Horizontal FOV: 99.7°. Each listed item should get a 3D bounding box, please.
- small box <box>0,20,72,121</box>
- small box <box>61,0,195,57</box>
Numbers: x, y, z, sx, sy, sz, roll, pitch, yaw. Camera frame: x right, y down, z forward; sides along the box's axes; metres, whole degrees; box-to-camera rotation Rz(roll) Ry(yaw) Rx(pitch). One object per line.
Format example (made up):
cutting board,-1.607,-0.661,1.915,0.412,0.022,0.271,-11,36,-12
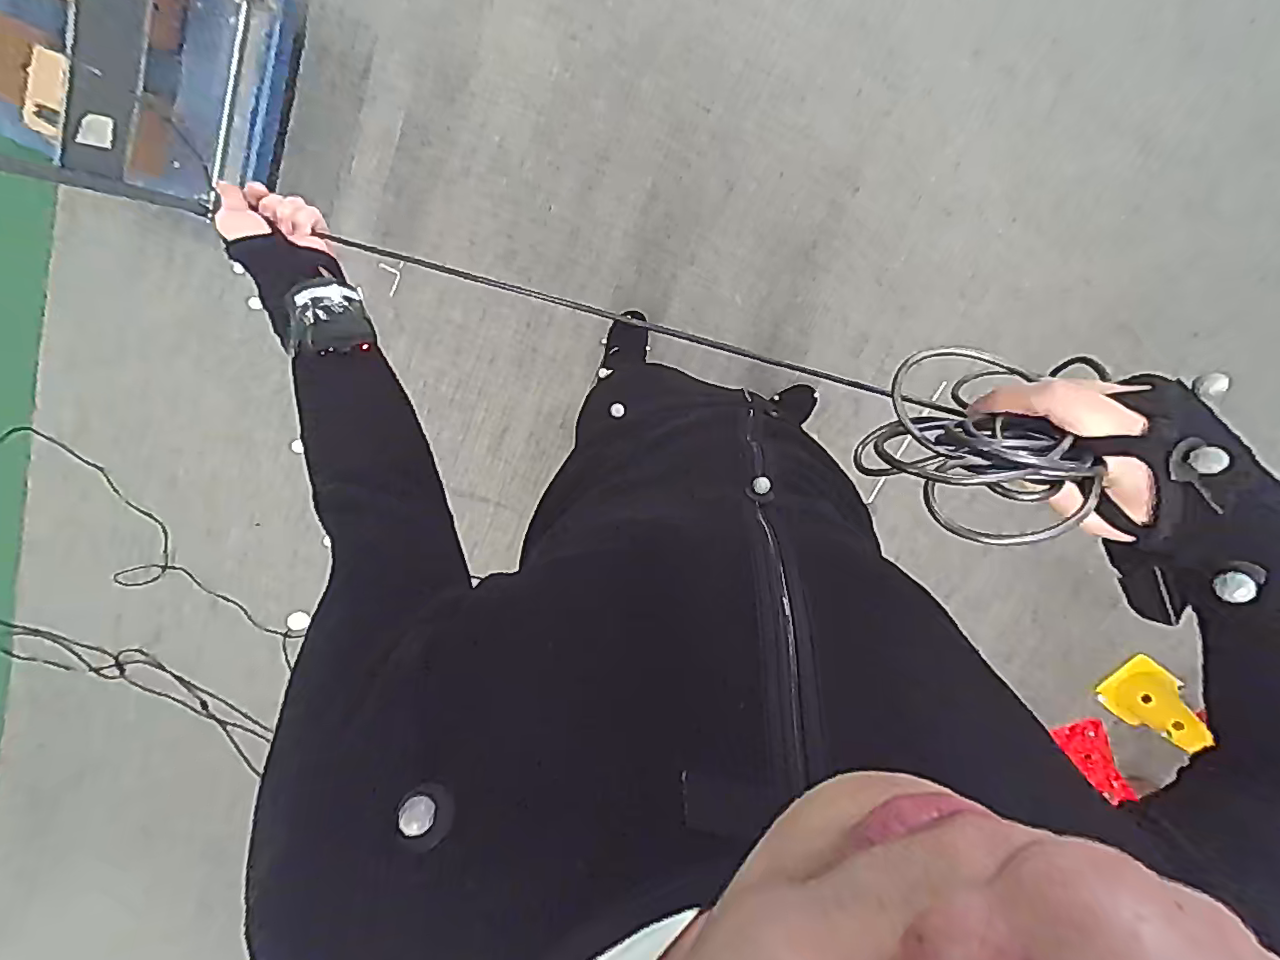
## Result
small box,-1.457,-0.952,1.227,0.179,0.176,0.168,21,106,-1
small box,-1.126,-1.066,1.166,0.179,0.176,0.168,25,106,-3
